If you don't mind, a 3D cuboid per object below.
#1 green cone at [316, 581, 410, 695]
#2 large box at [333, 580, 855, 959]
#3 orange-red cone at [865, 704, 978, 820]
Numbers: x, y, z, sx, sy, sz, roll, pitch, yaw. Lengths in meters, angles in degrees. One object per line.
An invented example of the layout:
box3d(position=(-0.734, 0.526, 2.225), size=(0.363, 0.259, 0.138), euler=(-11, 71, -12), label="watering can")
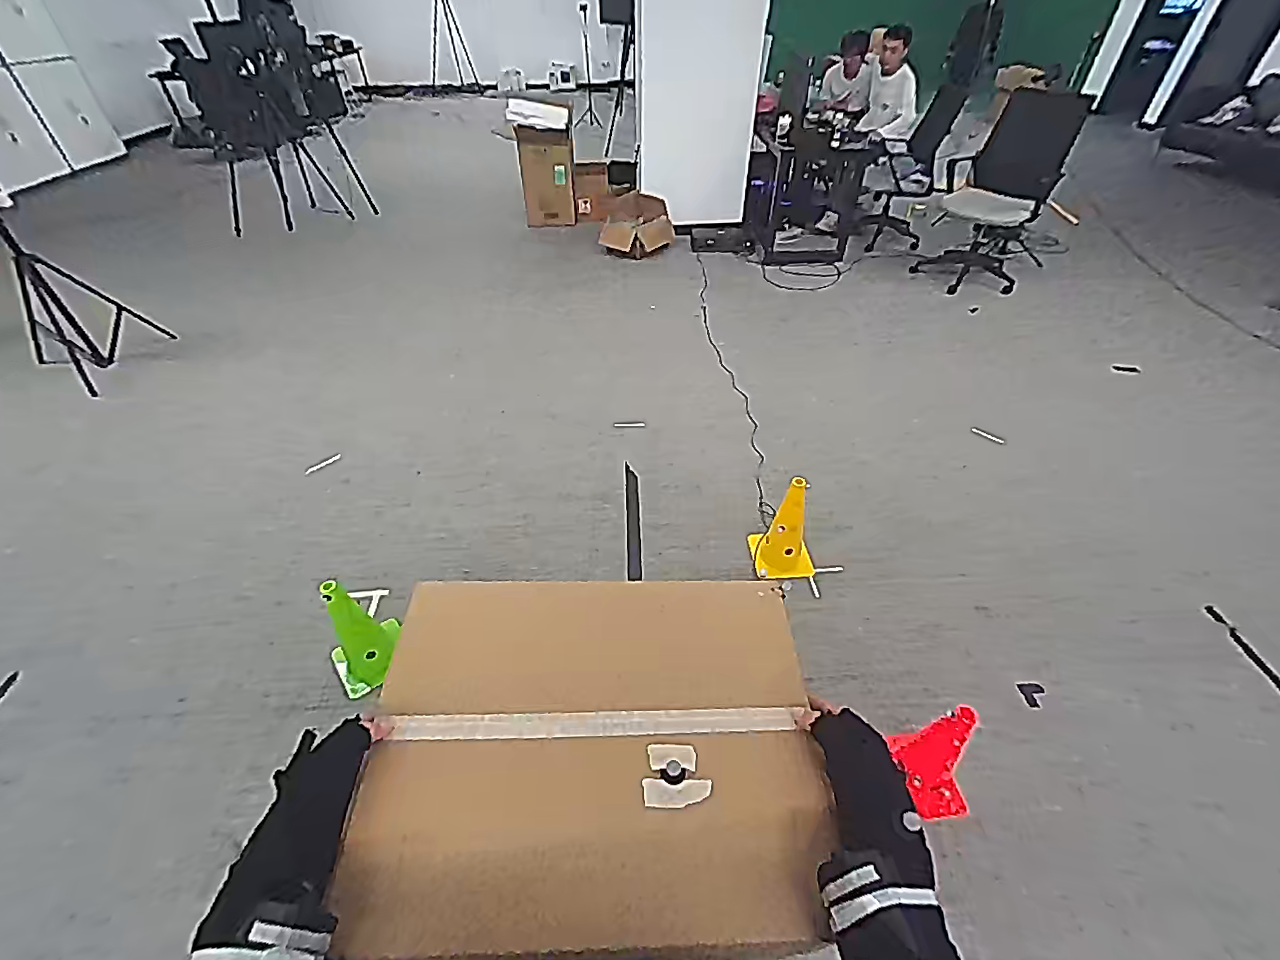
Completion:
box3d(position=(-0.805, 0.400, 1.517), size=(0.202, 0.368, 0.200), euler=(-31, 50, -27), label="green cone")
box3d(position=(-0.044, 0.328, 0.614), size=(0.408, 0.320, 0.320), euler=(1, 46, -3), label="large box")
box3d(position=(0.695, 0.622, 1.260), size=(0.198, 0.360, 0.199), euler=(-3, 41, -4), label="orange-red cone")
